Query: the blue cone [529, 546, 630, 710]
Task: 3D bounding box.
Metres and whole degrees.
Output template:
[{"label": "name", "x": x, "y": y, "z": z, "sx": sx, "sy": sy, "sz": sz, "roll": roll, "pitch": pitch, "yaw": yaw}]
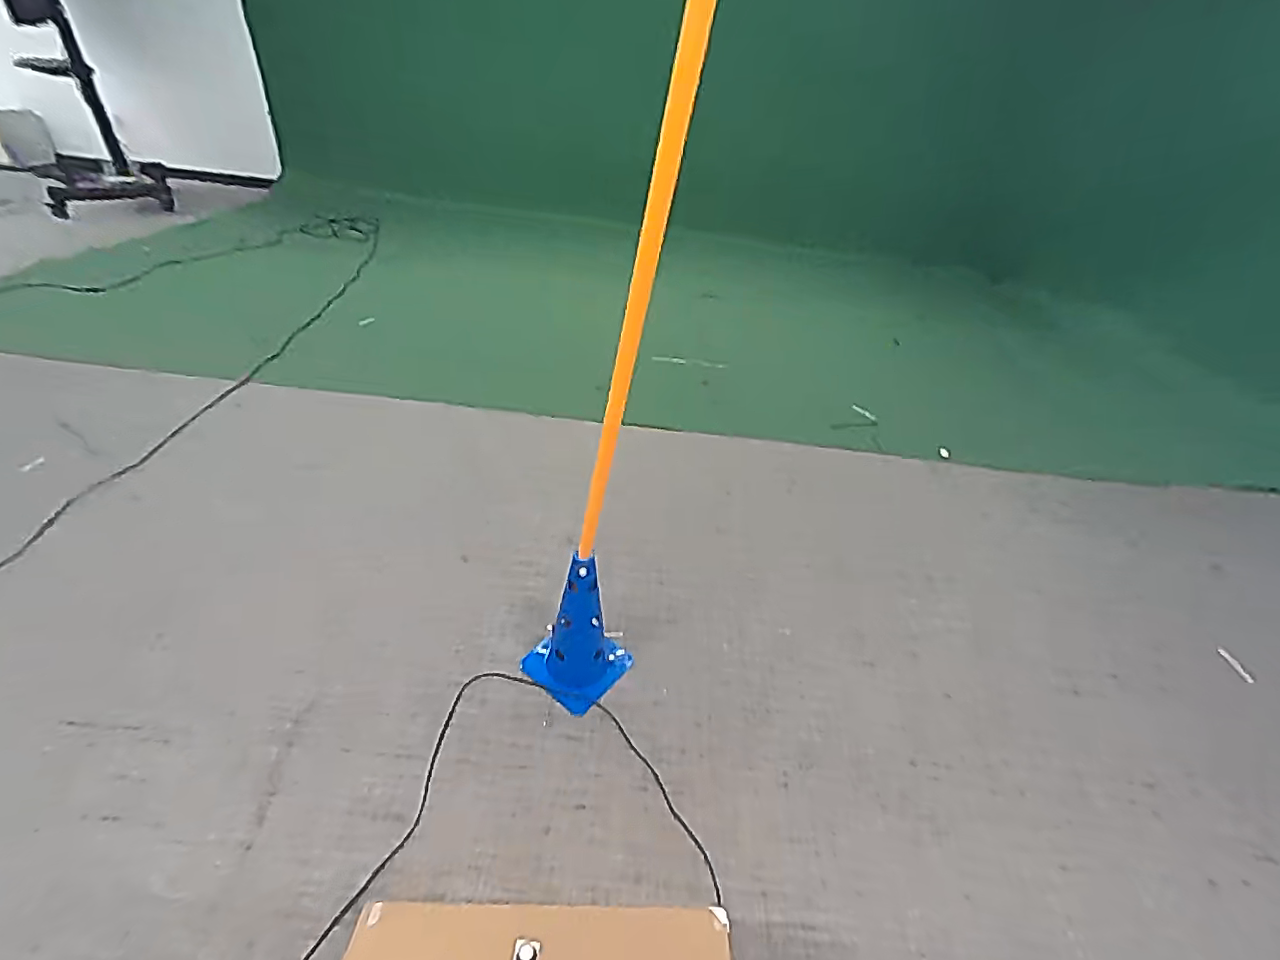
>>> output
[{"label": "blue cone", "x": -0.118, "y": 0.284, "z": 1.149, "sx": 0.192, "sy": 0.380, "sz": 0.193, "roll": 28, "pitch": 40, "yaw": 24}]
